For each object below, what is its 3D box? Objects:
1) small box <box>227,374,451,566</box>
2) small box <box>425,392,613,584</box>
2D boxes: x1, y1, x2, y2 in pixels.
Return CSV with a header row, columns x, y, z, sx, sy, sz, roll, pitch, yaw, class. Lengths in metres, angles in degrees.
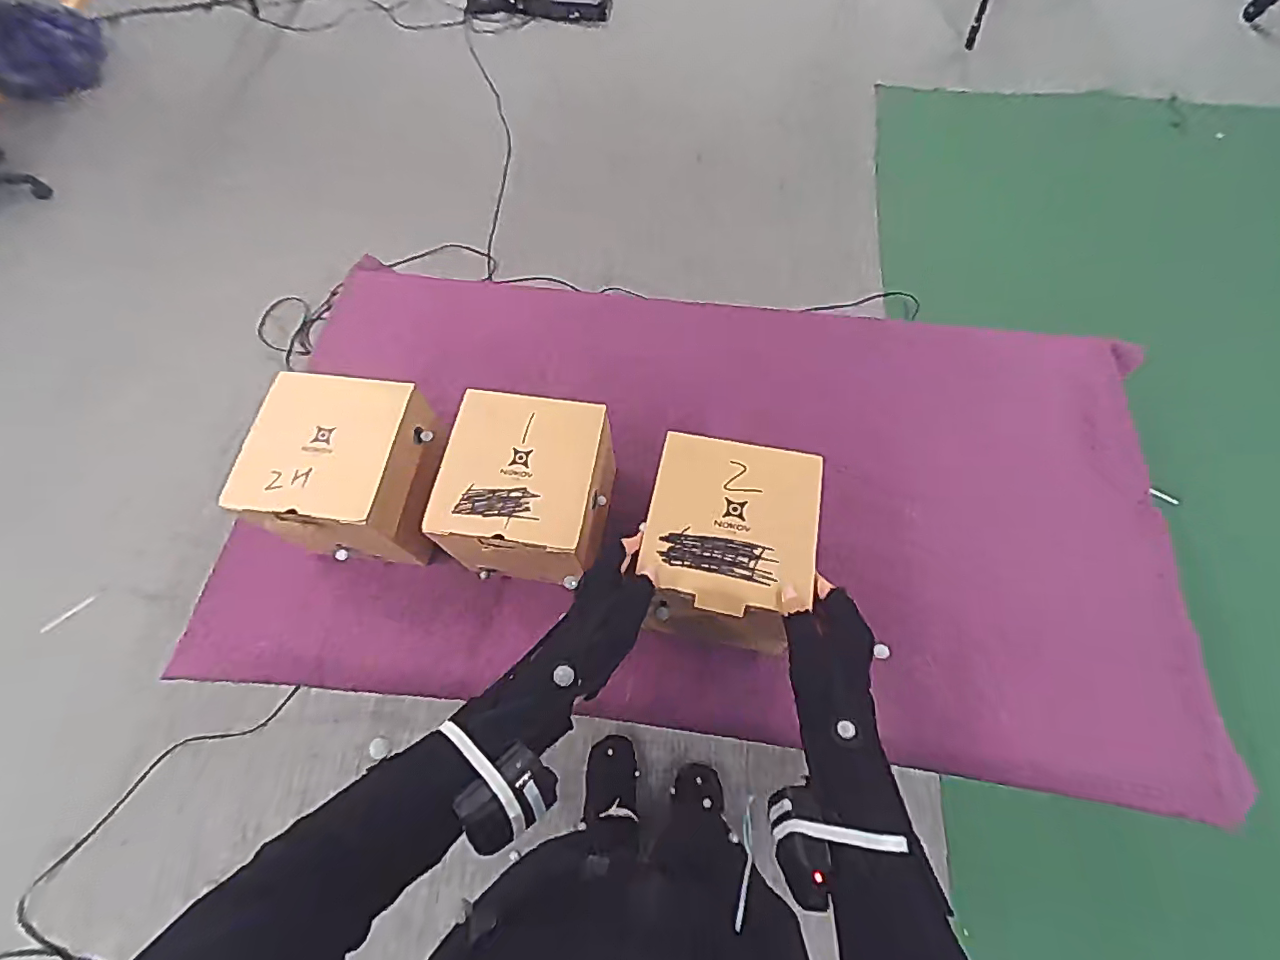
x,y,z,sx,sy,sz,roll,pitch,yaw,class
-0.347,-0.006,0.675,0.168,0.176,0.179,6,66,4,small box
-0.129,0.018,0.660,0.168,0.176,0.179,7,66,5,small box
